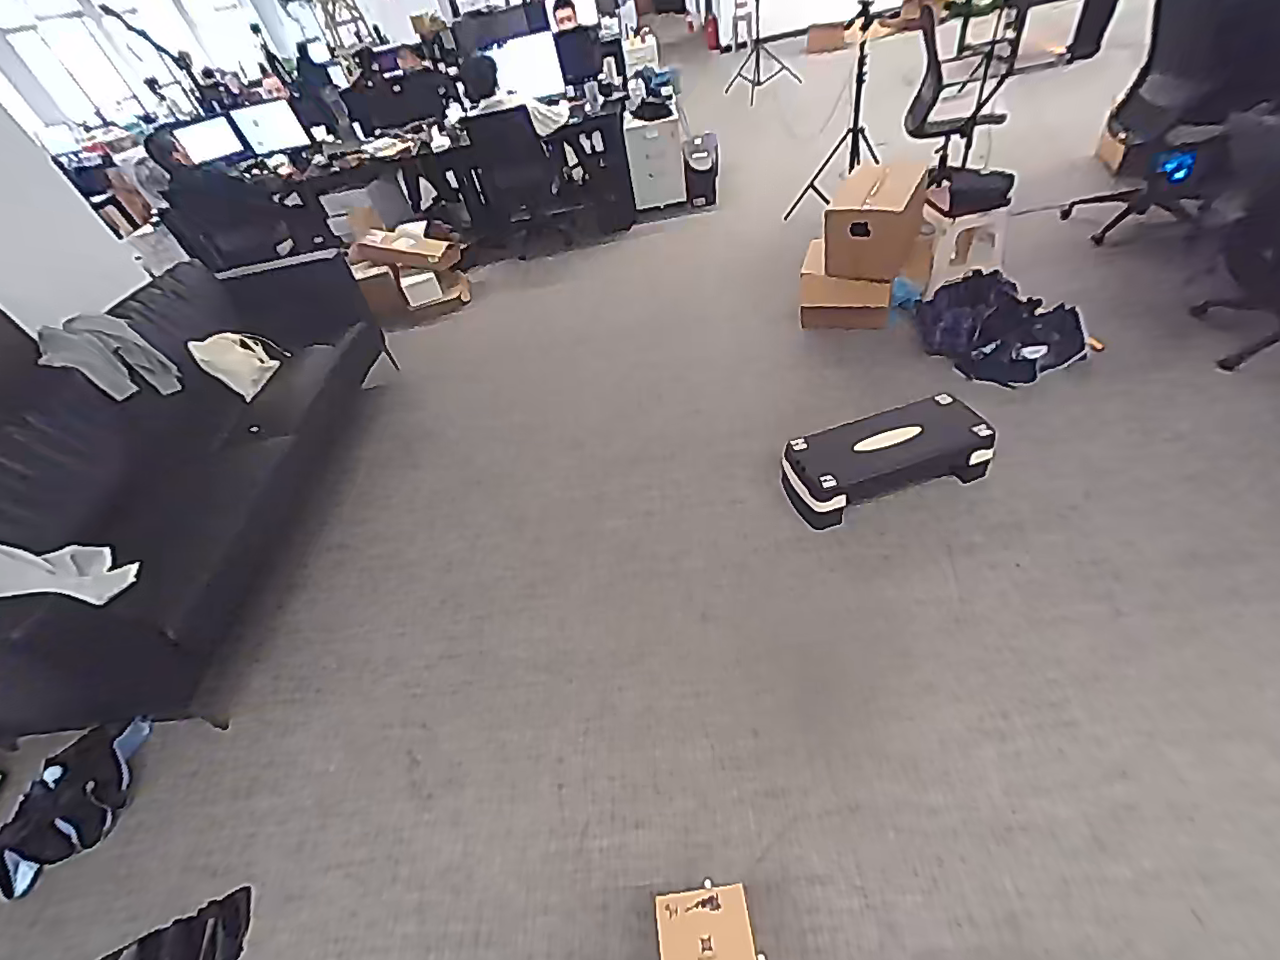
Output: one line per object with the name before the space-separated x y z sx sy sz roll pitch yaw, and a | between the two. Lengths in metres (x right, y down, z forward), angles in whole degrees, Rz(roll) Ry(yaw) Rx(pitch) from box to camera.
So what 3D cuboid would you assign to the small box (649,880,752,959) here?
small box | 0.118 0.868 0.999 0.168 0.176 0.179 -11 45 3
